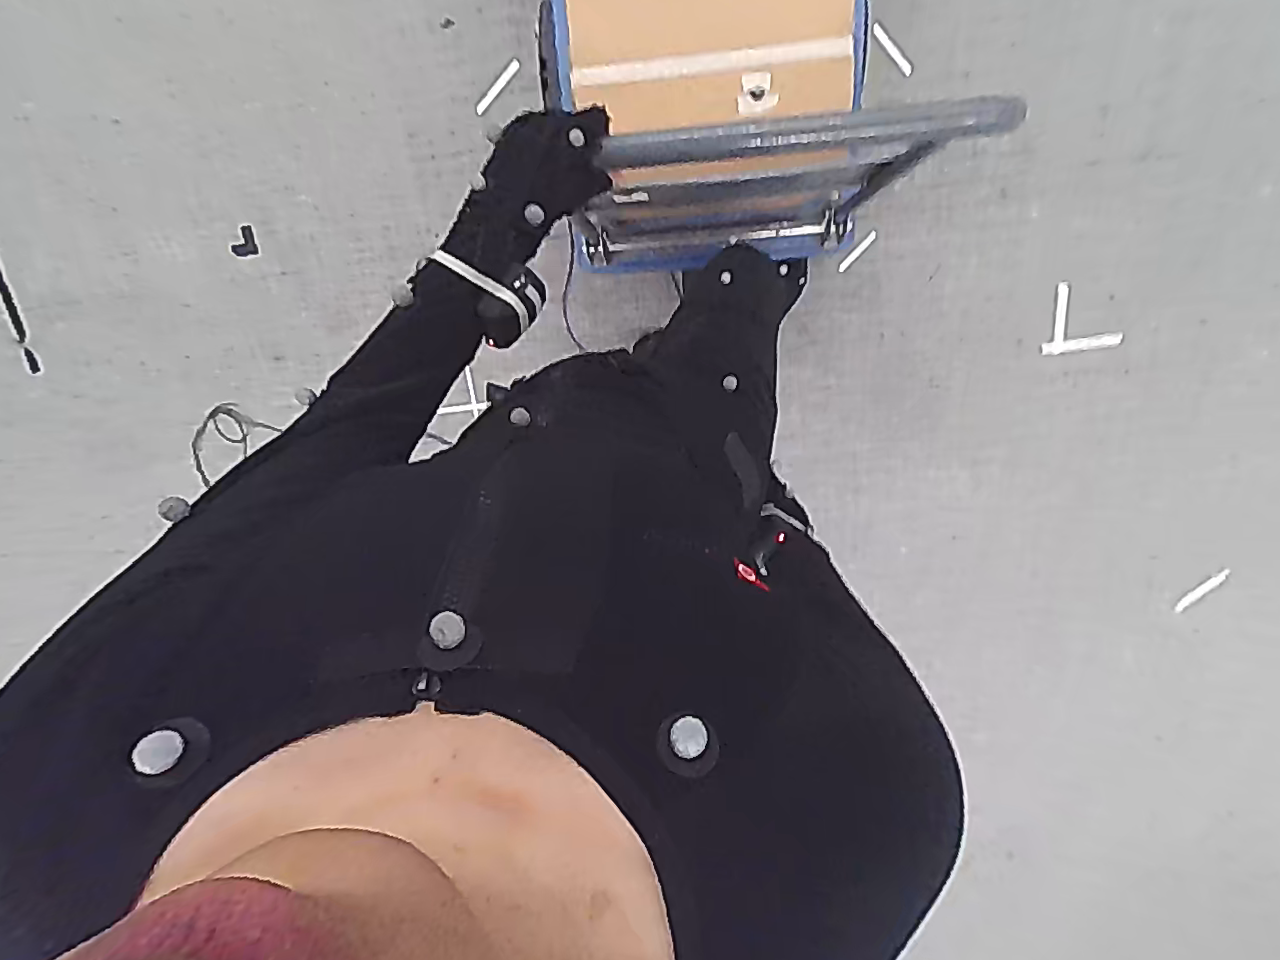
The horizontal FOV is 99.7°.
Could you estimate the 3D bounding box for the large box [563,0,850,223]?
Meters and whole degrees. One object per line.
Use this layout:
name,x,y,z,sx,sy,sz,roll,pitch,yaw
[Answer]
large box,0.104,-0.644,0.920,0.408,0.320,0.320,-3,109,4
